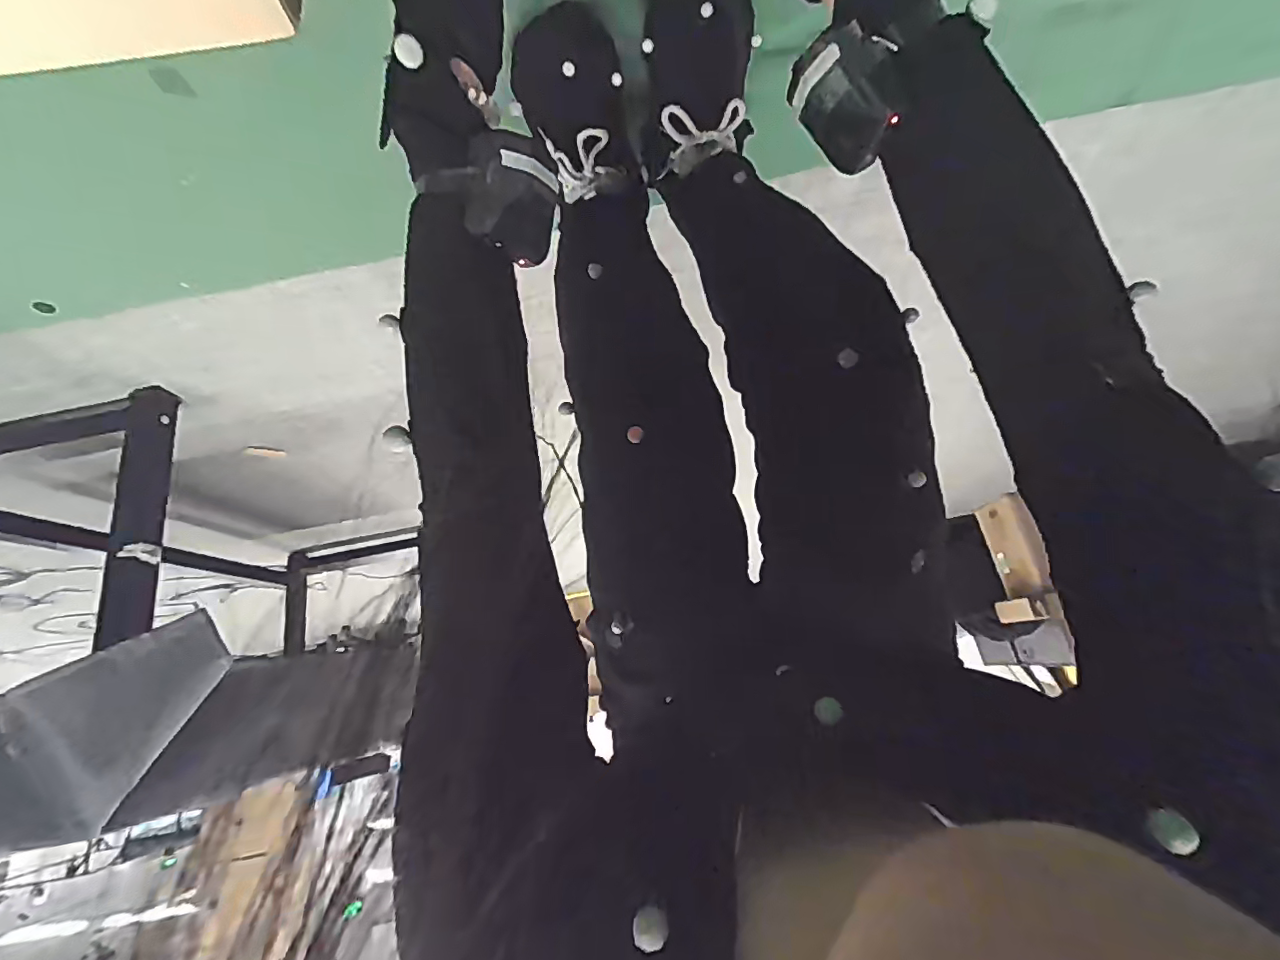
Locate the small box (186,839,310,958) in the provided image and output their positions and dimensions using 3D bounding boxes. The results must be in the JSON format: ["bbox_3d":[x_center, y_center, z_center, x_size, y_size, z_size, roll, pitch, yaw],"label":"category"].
[{"bbox_3d":[-0.912,0.972,1.274,0.168,0.176,0.179,-10,161,4],"label":"small box"}]

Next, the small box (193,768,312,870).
[{"bbox_3d":[-0.936,0.819,1.325,0.179,0.176,0.168,-11,161,1],"label":"small box"}]
